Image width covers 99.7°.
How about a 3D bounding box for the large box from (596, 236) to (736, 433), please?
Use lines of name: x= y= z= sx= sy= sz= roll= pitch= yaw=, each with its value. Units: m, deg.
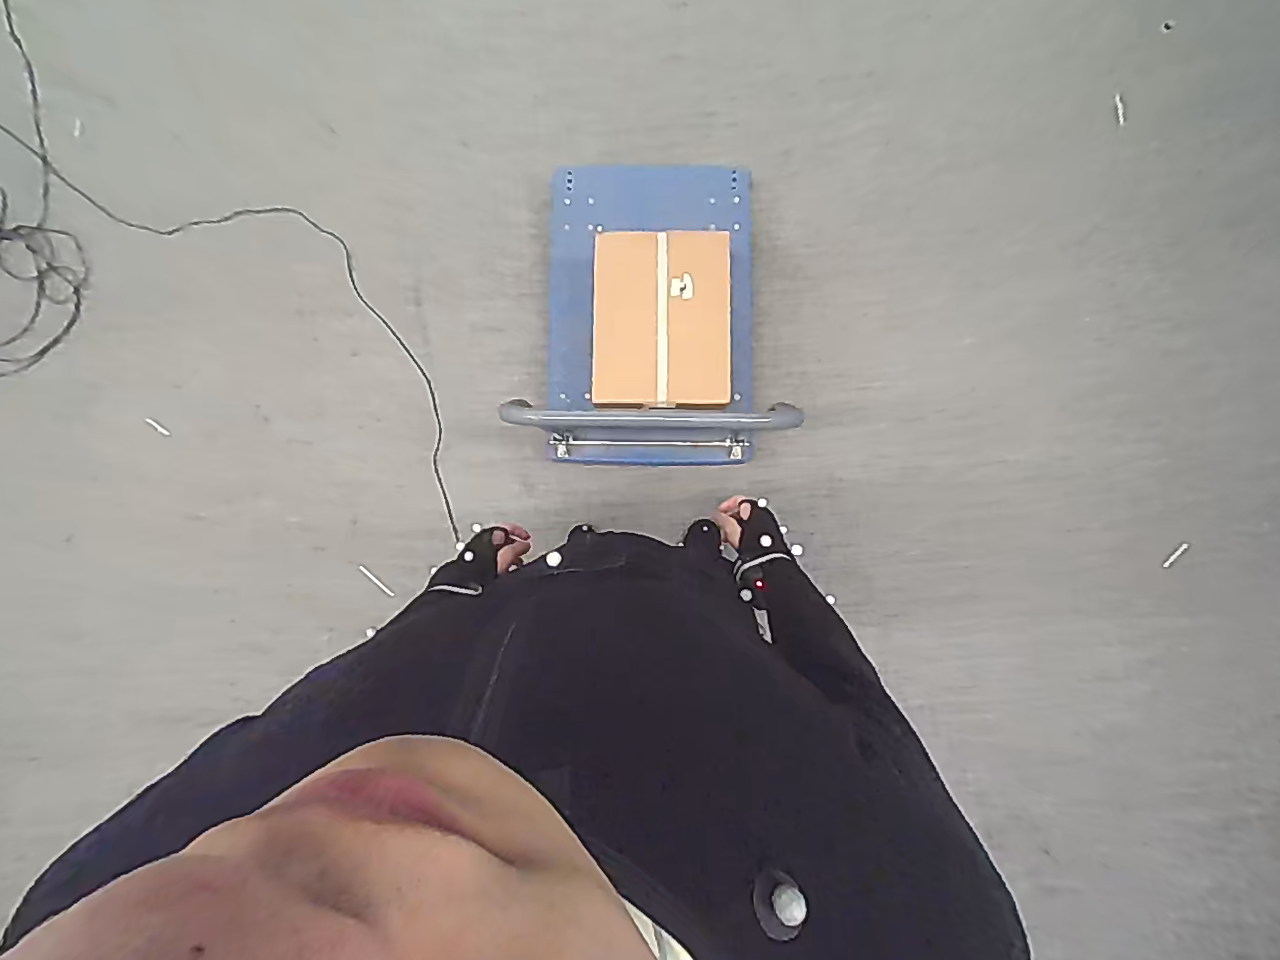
large box: x=0.062 y=-0.344 z=1.365 sx=0.320 sy=0.320 sz=0.408 roll=0 pitch=84 yaw=1
